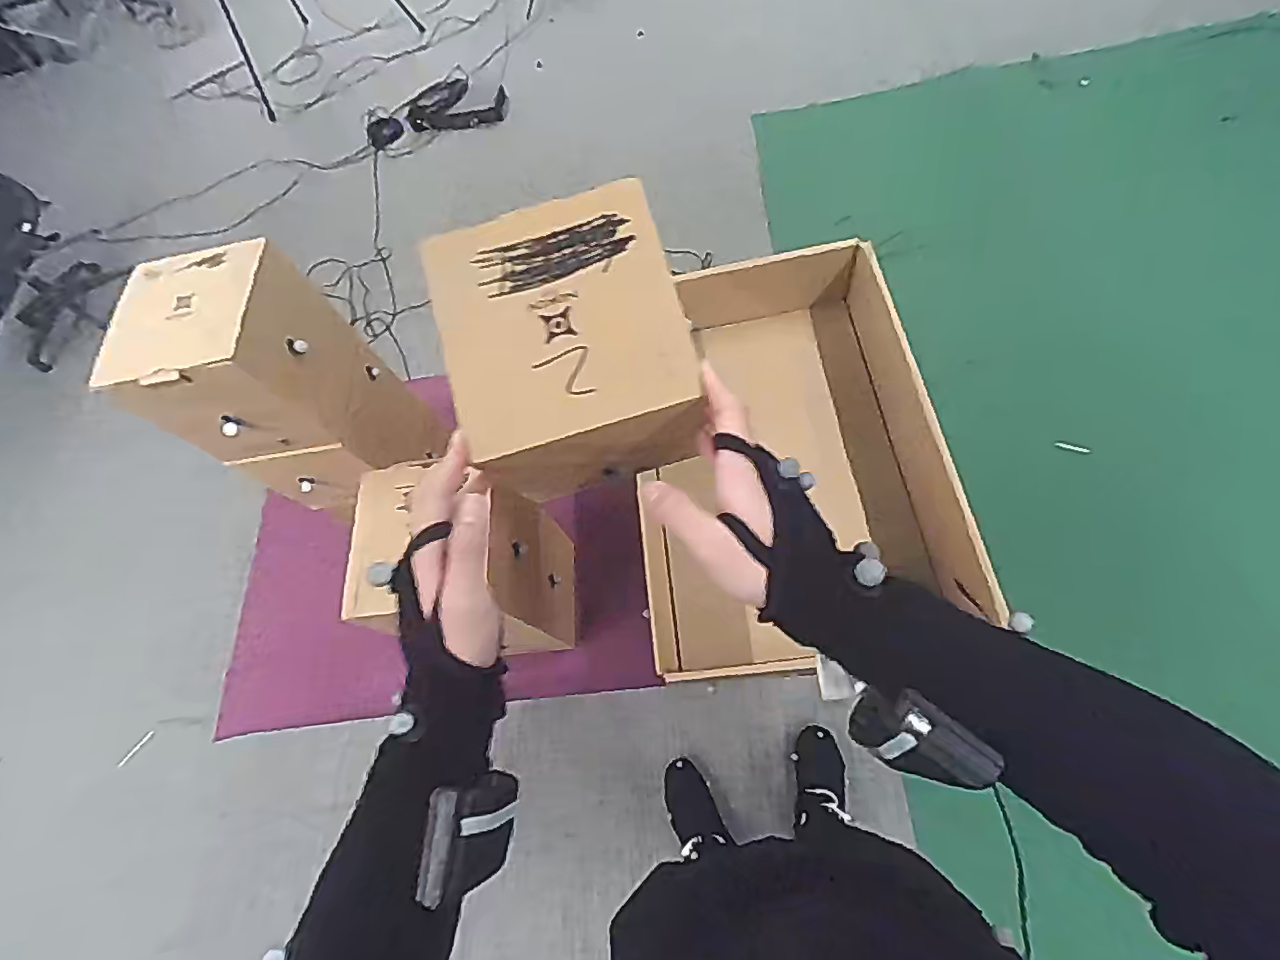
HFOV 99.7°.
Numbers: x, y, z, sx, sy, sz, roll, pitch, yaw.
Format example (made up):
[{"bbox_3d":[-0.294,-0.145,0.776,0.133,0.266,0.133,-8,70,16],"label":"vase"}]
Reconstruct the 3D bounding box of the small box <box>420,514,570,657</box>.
[{"bbox_3d":[-0.205,0.168,0.815,0.168,0.176,0.179,-7,64,6],"label":"small box"}]

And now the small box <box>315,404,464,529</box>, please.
[{"bbox_3d":[-0.420,-0.005,0.938,0.168,0.176,0.179,-8,64,6],"label":"small box"}]

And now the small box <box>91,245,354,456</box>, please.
[{"bbox_3d":[-0.472,-0.140,0.646,0.168,0.176,0.179,-8,65,5],"label":"small box"}]

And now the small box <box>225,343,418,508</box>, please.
[{"bbox_3d":[-0.447,-0.068,0.791,0.168,0.176,0.179,-8,64,6],"label":"small box"}]

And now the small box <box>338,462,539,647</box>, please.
[{"bbox_3d":[-0.230,0.099,0.668,0.168,0.176,0.179,-7,64,7],"label":"small box"}]
